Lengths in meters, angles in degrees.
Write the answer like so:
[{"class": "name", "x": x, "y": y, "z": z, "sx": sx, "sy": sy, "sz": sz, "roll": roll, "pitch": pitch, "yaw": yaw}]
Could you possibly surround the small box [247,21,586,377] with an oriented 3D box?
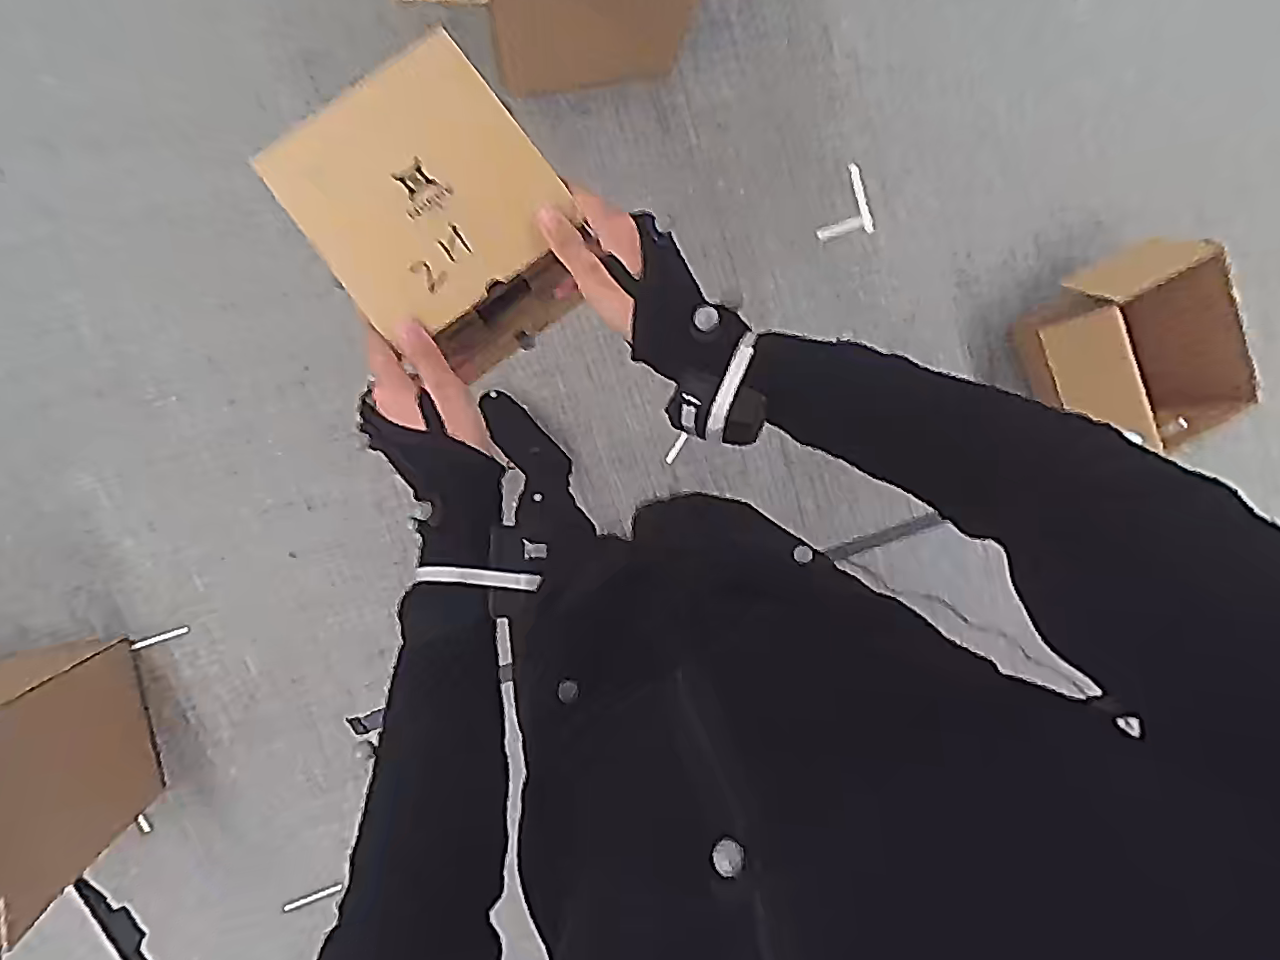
[{"class": "small box", "x": -0.163, "y": -0.208, "z": 0.458, "sx": 0.168, "sy": 0.176, "sz": 0.179, "roll": -37, "pitch": 97, "yaw": -2}]
